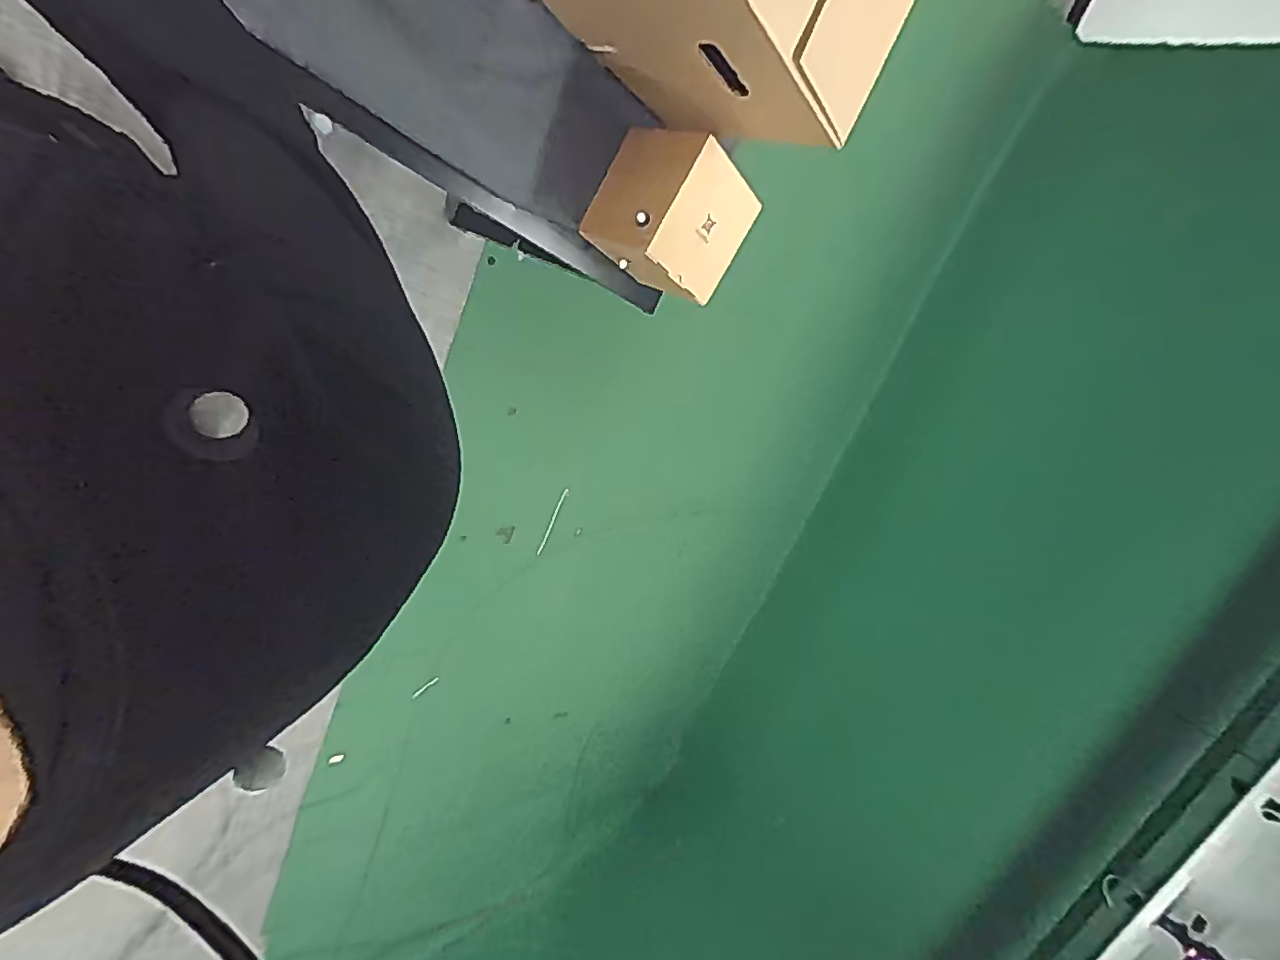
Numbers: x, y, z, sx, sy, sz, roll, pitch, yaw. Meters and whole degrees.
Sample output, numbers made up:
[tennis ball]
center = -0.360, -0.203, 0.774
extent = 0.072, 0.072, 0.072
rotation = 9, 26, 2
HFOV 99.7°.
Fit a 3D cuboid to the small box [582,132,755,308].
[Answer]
[small box]
center = 0.041, -0.405, 0.841
extent = 0.168, 0.176, 0.179
rotation = 20, 105, -52
